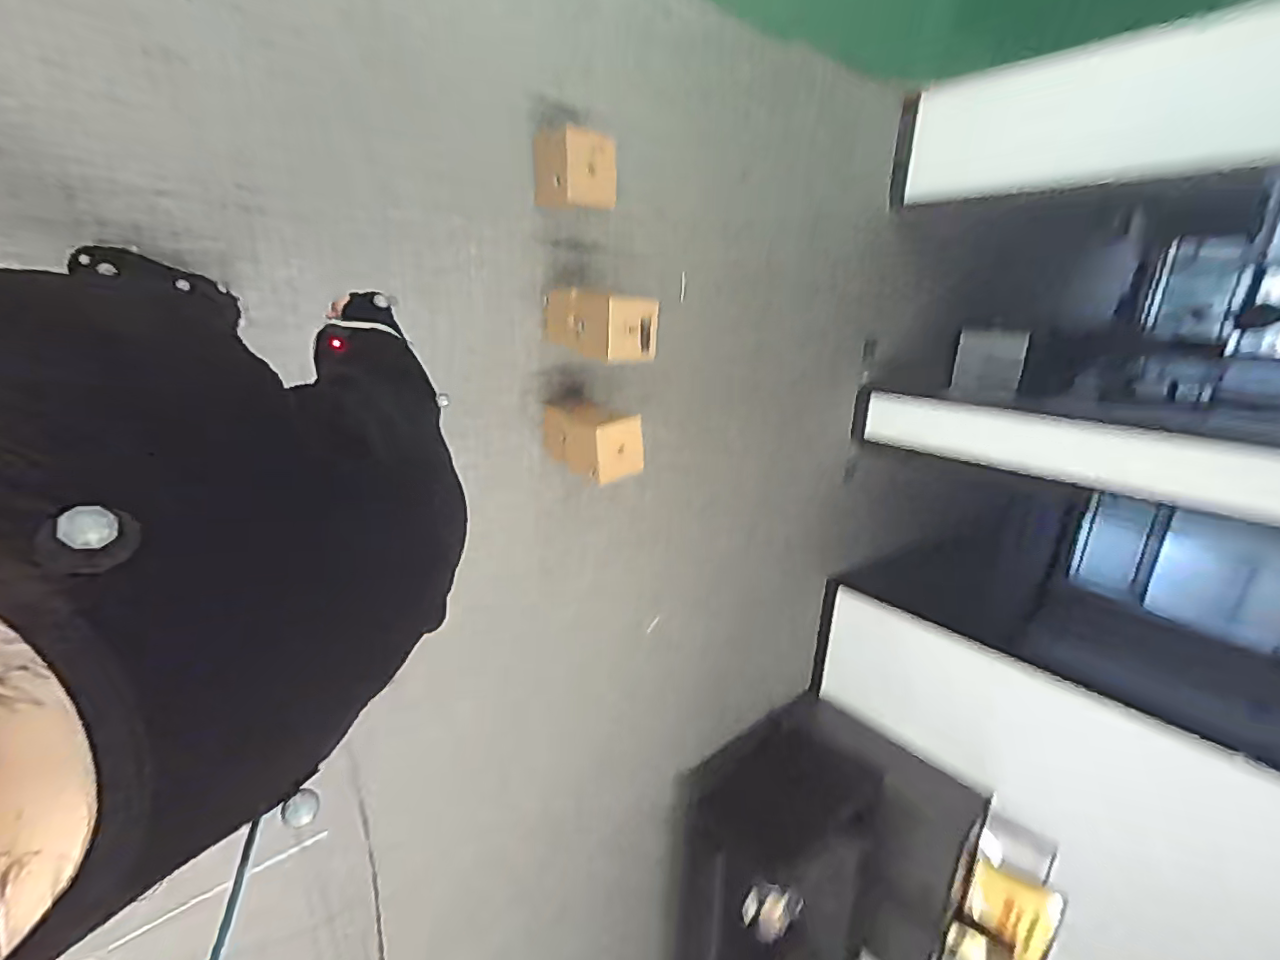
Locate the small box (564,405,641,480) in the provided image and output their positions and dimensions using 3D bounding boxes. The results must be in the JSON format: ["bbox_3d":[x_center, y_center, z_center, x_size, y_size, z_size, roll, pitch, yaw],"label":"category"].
[{"bbox_3d":[-0.115,-0.122,1.624,0.168,0.176,0.179,-22,120,-35],"label":"small box"}]

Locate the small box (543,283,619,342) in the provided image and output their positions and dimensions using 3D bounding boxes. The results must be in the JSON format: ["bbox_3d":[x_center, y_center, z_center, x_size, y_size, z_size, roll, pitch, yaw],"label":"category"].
[{"bbox_3d":[-0.184,-0.509,1.642,0.179,0.176,0.168,-14,115,-39],"label":"small box"}]

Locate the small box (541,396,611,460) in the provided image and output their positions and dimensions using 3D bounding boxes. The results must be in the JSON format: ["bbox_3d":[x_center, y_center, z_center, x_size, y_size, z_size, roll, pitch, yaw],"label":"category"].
[{"bbox_3d":[-0.207,-0.172,1.748,0.168,0.176,0.179,-16,116,-36],"label":"small box"}]

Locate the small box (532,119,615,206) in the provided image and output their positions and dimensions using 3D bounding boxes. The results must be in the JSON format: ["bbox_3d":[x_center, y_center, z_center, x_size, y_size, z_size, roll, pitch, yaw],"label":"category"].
[{"bbox_3d":[-0.187,-0.872,1.502,0.168,0.176,0.179,-15,115,-39],"label":"small box"}]
